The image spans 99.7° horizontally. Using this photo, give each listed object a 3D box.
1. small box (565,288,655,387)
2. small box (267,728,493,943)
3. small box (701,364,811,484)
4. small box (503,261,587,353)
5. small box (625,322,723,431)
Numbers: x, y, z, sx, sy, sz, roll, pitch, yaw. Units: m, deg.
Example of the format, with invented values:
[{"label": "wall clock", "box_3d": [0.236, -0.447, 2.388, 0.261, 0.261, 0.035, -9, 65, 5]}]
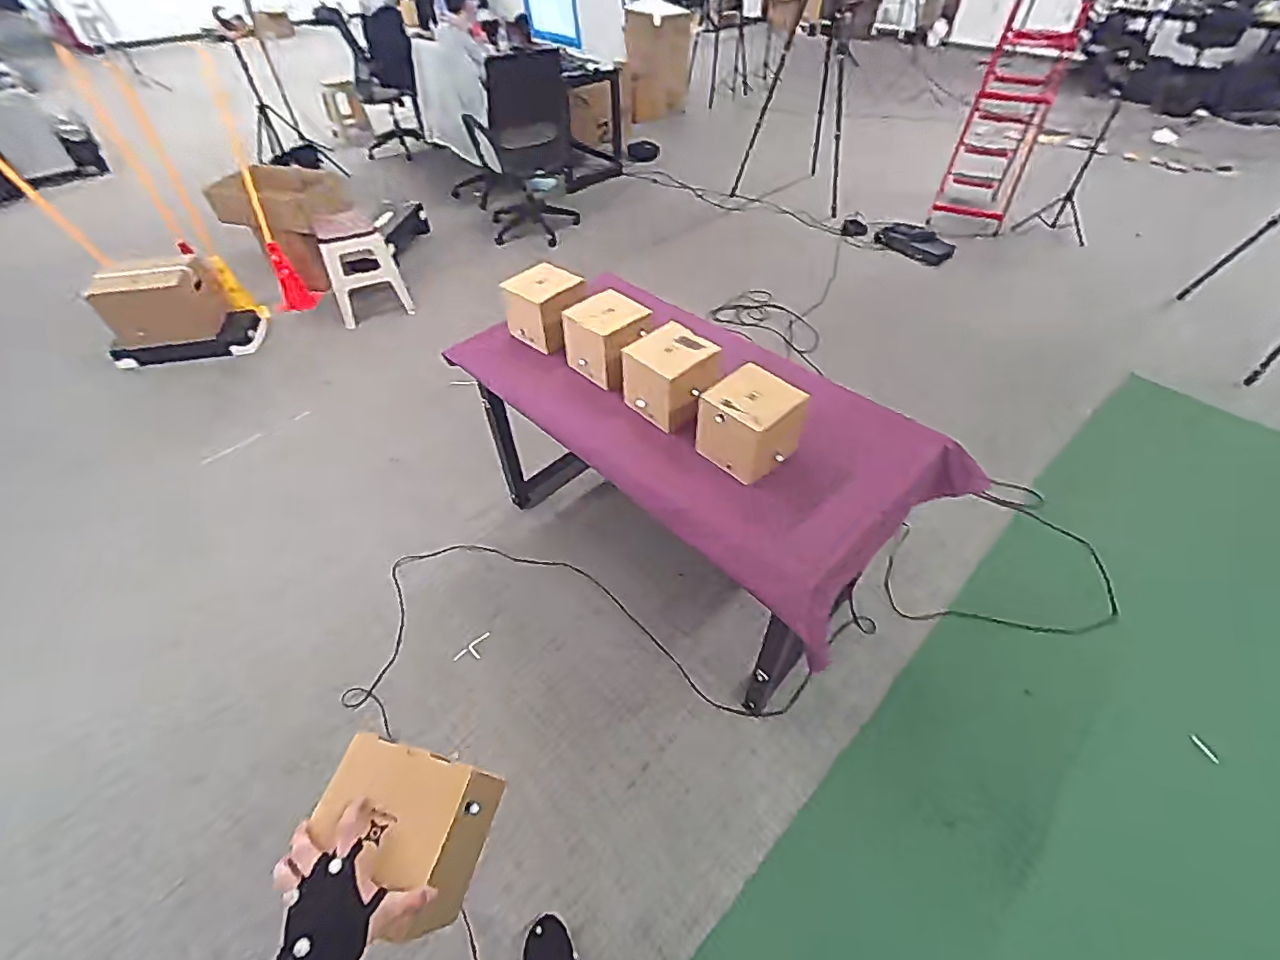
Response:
[{"label": "small box", "box_3d": [-0.079, -0.381, 1.454, 0.179, 0.176, 0.168, -36, 56, -27]}, {"label": "small box", "box_3d": [-0.309, 0.445, 0.690, 0.168, 0.176, 0.179, 11, 56, 10]}, {"label": "small box", "box_3d": [0.250, -0.126, 1.215, 0.179, 0.176, 0.168, -34, 55, -27]}, {"label": "small box", "box_3d": [-0.267, -0.501, 1.567, 0.168, 0.176, 0.179, 32, 57, 27]}, {"label": "small box", "box_3d": [0.080, -0.254, 1.336, 0.179, 0.176, 0.168, -34, 56, -25]}]
